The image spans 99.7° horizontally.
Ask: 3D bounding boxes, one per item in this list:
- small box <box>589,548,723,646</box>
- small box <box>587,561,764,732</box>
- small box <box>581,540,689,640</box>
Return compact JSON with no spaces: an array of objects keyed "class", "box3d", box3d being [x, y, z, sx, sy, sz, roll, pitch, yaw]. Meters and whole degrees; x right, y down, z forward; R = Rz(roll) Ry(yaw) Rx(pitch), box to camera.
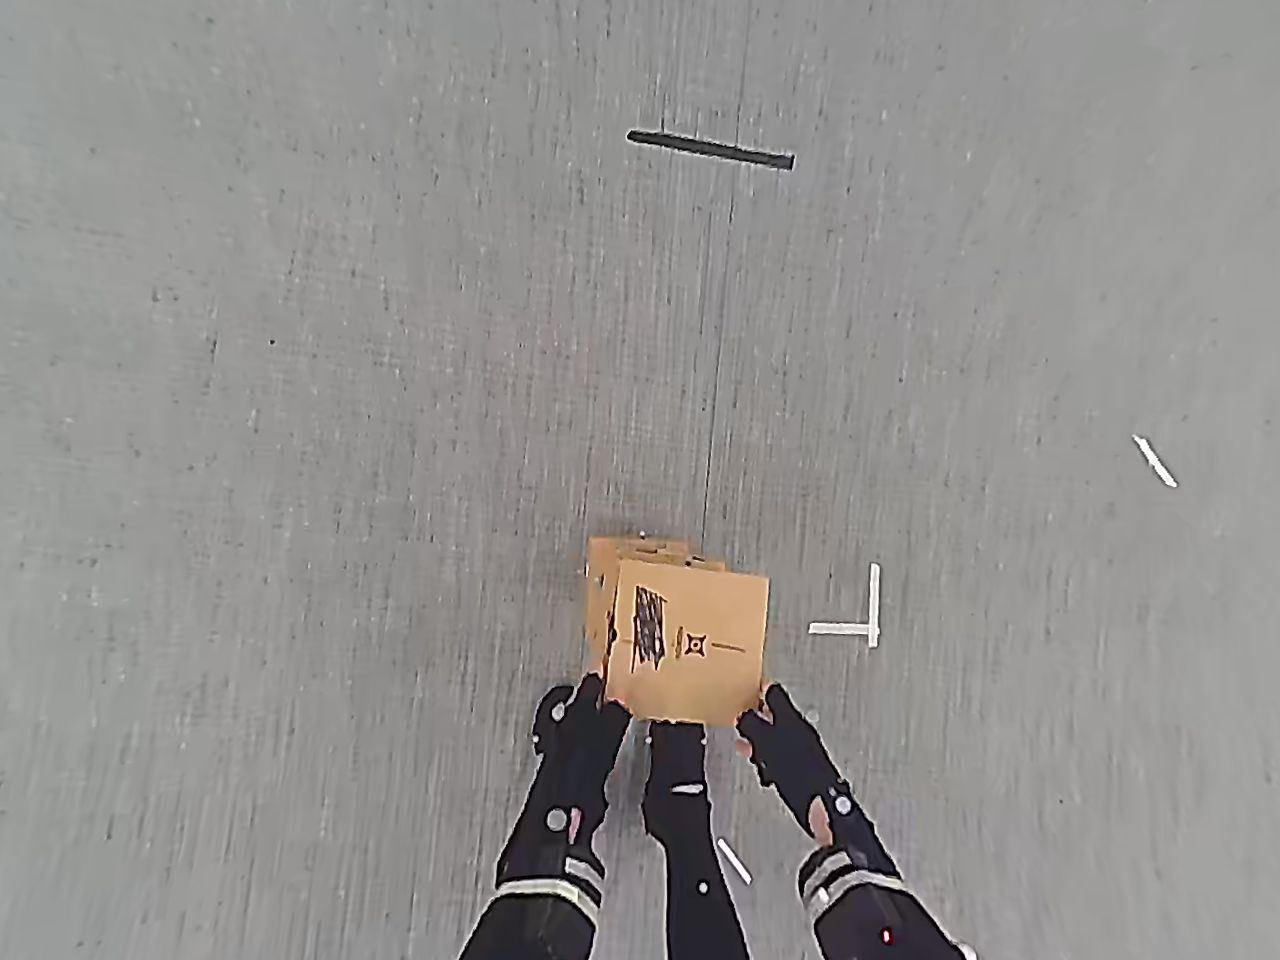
[{"class":"small box","box3d":[0.016,0.204,0.842,0.168,0.176,0.179,10,83,-8]},{"class":"small box","box3d":[0.034,0.196,0.669,0.179,0.176,0.168,9,79,-9]},{"class":"small box","box3d":[-0.015,0.199,1.003,0.179,0.176,0.168,3,85,-8]}]
